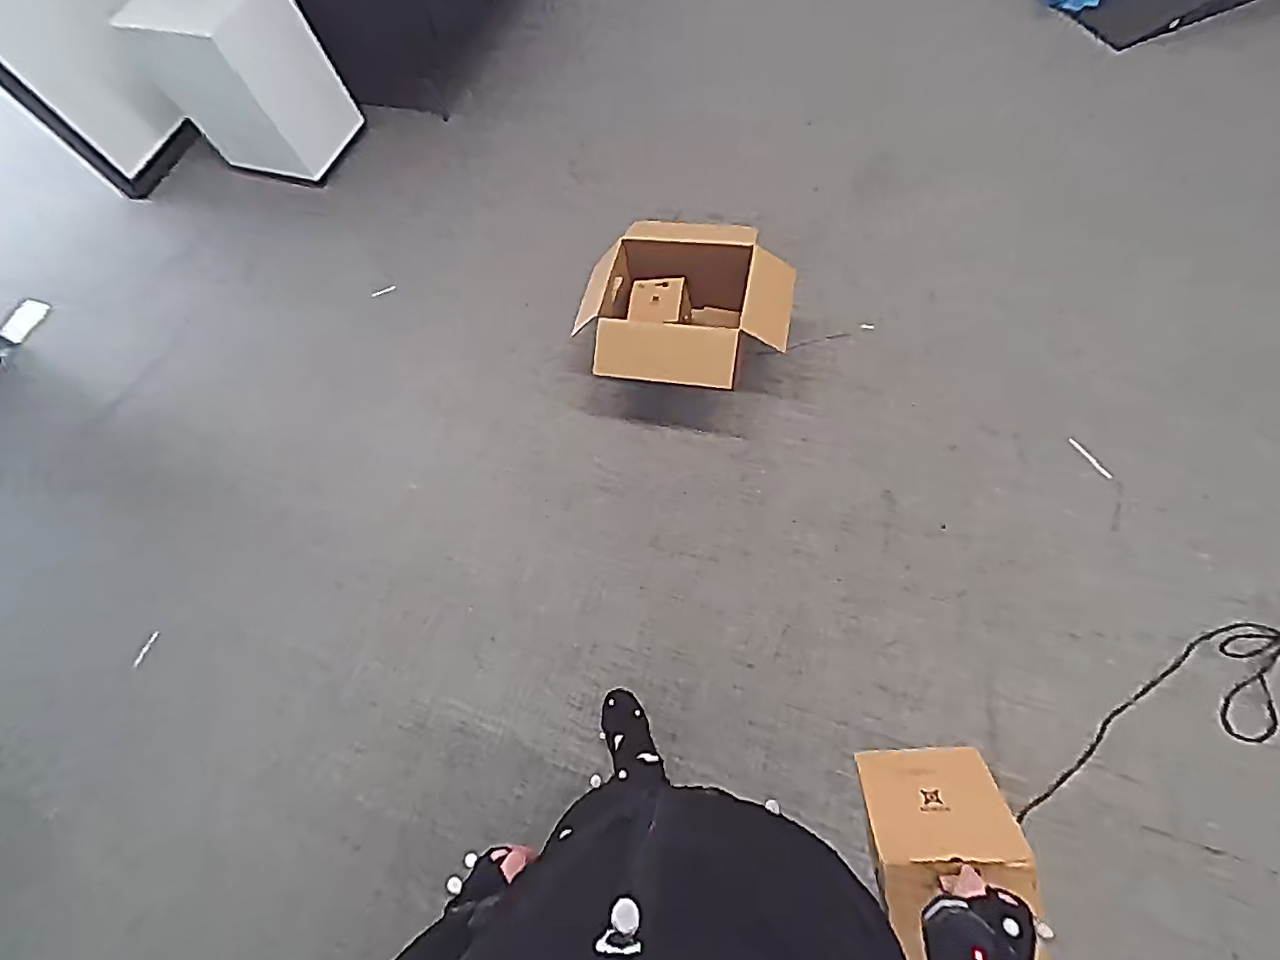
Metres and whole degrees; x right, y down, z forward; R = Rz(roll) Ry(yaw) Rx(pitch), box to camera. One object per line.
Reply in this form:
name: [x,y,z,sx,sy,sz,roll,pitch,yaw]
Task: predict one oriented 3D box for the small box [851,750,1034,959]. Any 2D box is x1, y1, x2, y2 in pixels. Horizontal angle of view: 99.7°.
small box: [0.383,0.485,0.702,0.168,0.179,0.176,-8,102,13]
